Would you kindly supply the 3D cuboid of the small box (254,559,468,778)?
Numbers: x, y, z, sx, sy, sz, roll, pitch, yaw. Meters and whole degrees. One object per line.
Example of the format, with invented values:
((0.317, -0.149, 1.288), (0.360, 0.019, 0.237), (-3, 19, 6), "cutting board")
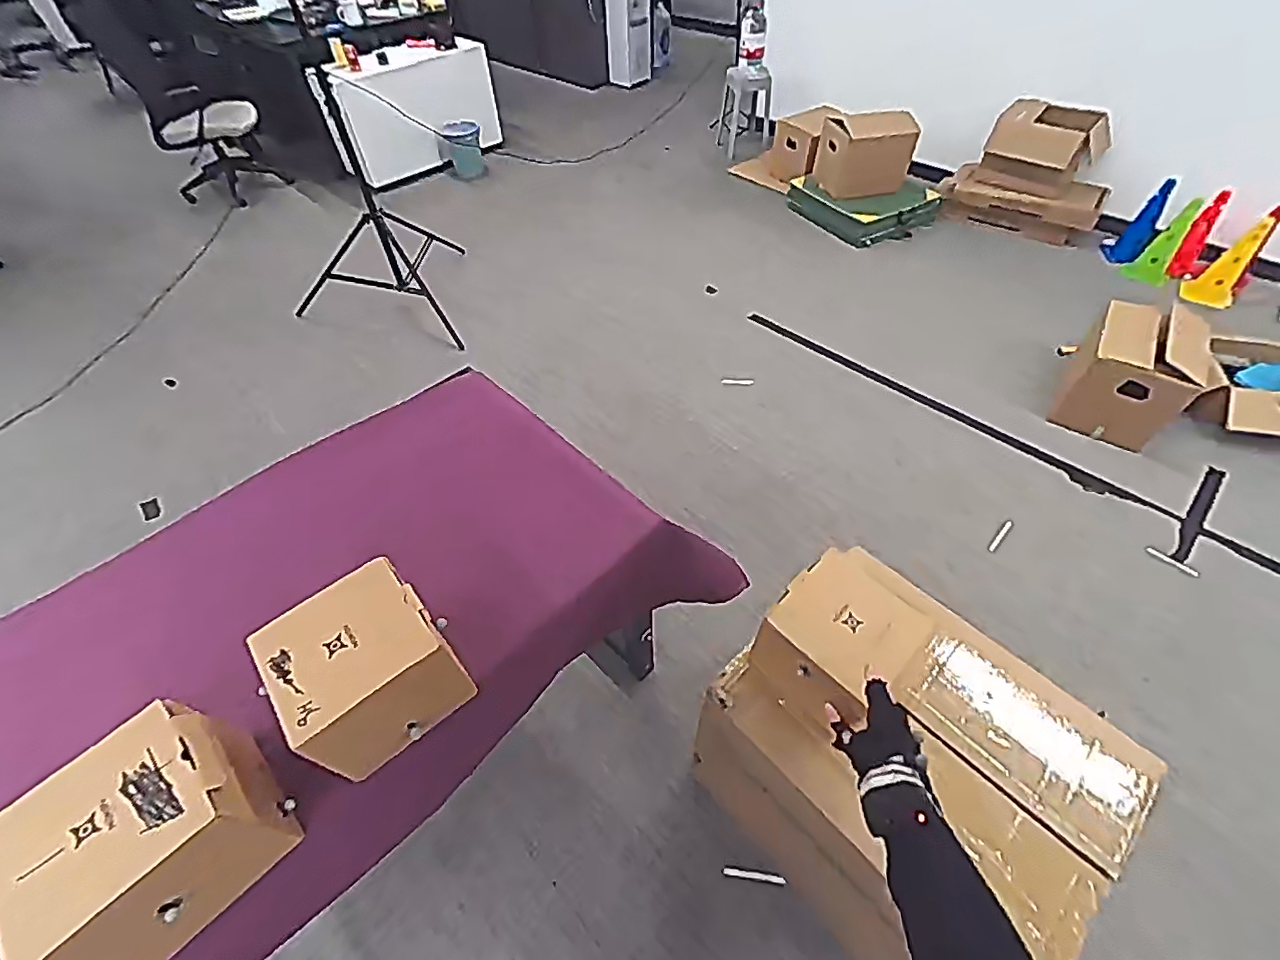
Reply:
((-0.343, 0.243, 0.700), (0.179, 0.176, 0.168), (-34, 56, -24), "small box")

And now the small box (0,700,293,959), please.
((-0.518, 0.383, 0.587), (0.168, 0.176, 0.179), (35, 61, 28), "small box")

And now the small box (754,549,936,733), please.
((0.293, 0.244, 0.811), (0.168, 0.176, 0.179), (-39, 60, -23), "small box")
